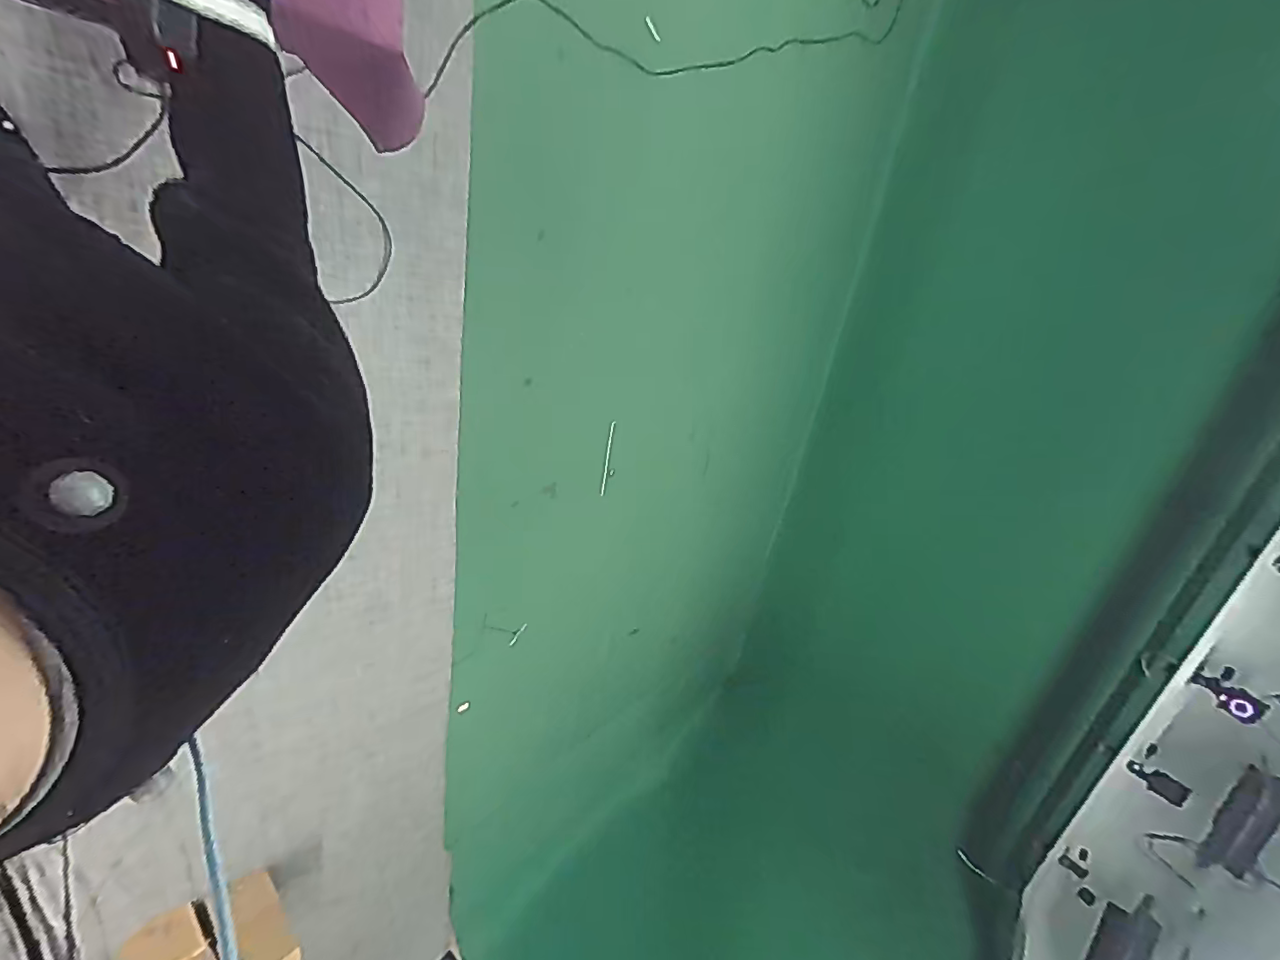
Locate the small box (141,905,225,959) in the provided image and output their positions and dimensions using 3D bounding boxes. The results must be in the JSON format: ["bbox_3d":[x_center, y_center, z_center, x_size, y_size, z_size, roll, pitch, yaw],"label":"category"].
[{"bbox_3d":[-1.397,1.470,1.659,0.168,0.176,0.179,-17,123,-48],"label":"small box"}]
